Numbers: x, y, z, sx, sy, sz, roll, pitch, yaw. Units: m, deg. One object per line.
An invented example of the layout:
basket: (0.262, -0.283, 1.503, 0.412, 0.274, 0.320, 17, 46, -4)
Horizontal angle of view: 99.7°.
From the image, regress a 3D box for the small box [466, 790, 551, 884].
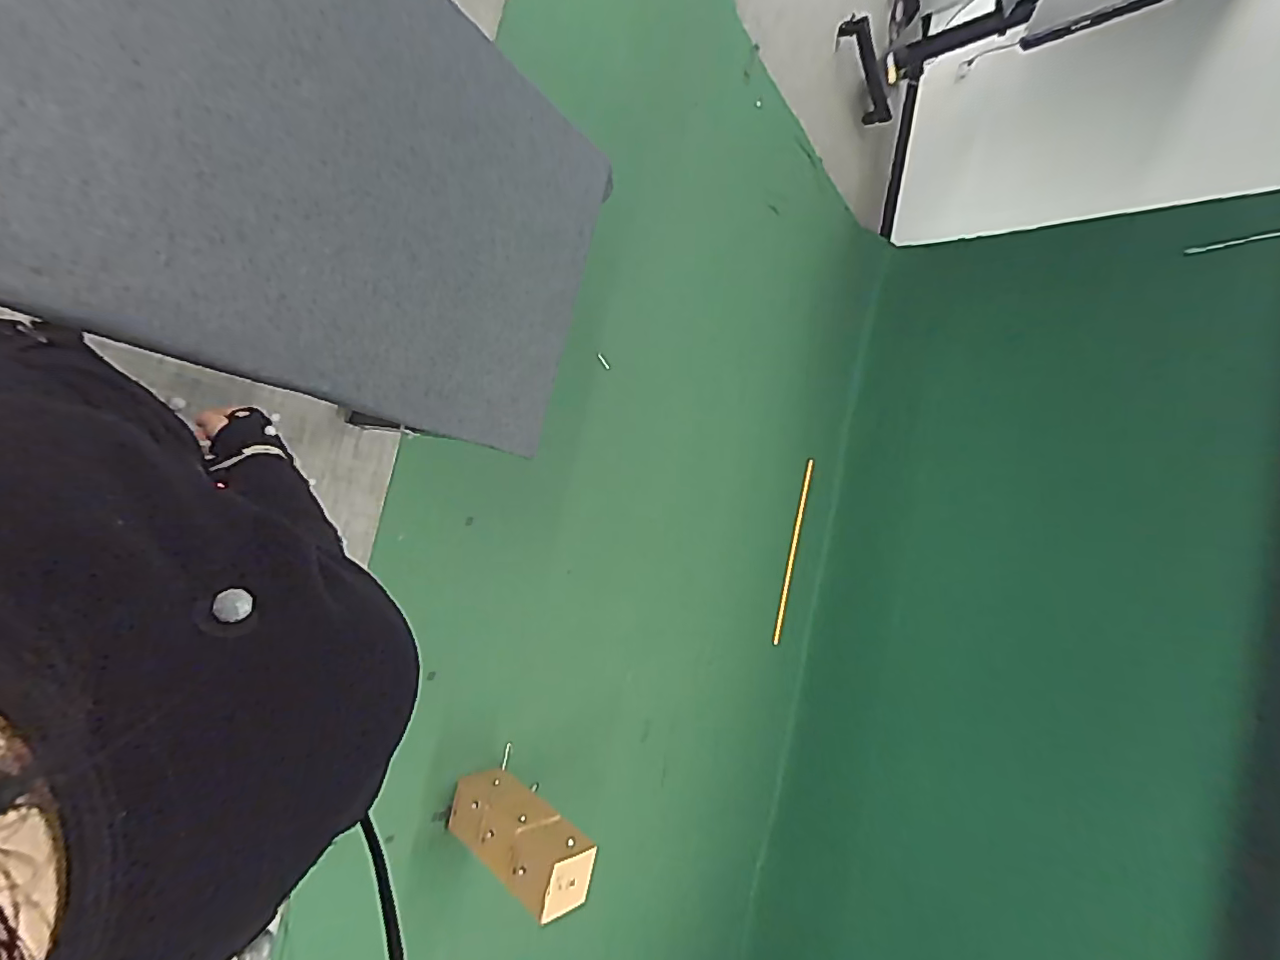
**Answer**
small box: (-0.417, 1.117, 1.712, 0.179, 0.176, 0.168, 17, 84, -49)

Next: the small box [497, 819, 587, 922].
small box: (-0.292, 1.145, 1.606, 0.179, 0.176, 0.168, 19, 82, -49)
